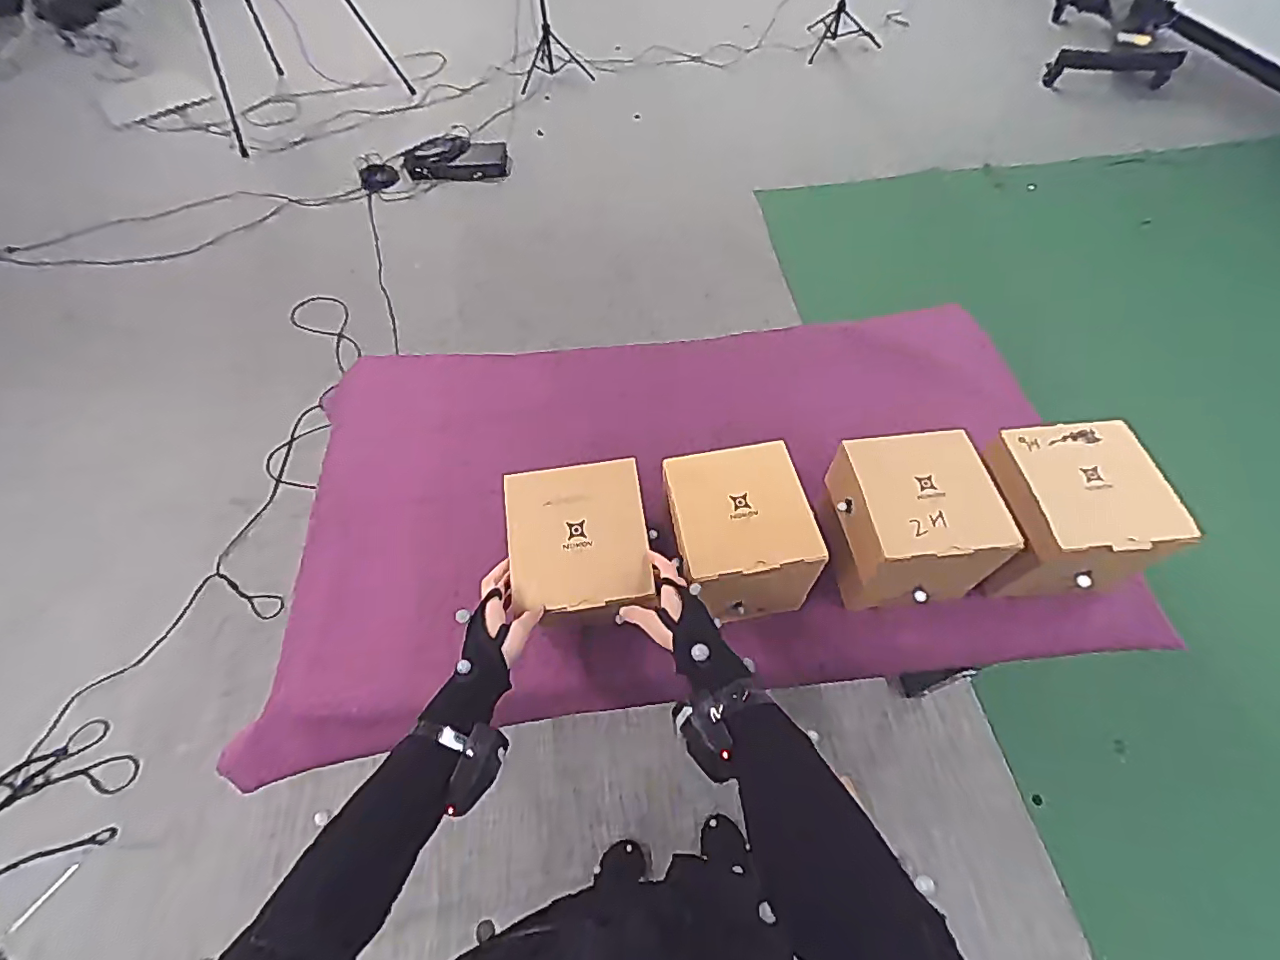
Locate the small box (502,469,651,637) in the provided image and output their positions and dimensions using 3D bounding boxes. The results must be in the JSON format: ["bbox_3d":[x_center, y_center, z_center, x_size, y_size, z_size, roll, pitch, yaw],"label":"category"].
[{"bbox_3d":[-0.077,0.105,0.710,0.168,0.176,0.179,-8,68,-3],"label":"small box"}]
